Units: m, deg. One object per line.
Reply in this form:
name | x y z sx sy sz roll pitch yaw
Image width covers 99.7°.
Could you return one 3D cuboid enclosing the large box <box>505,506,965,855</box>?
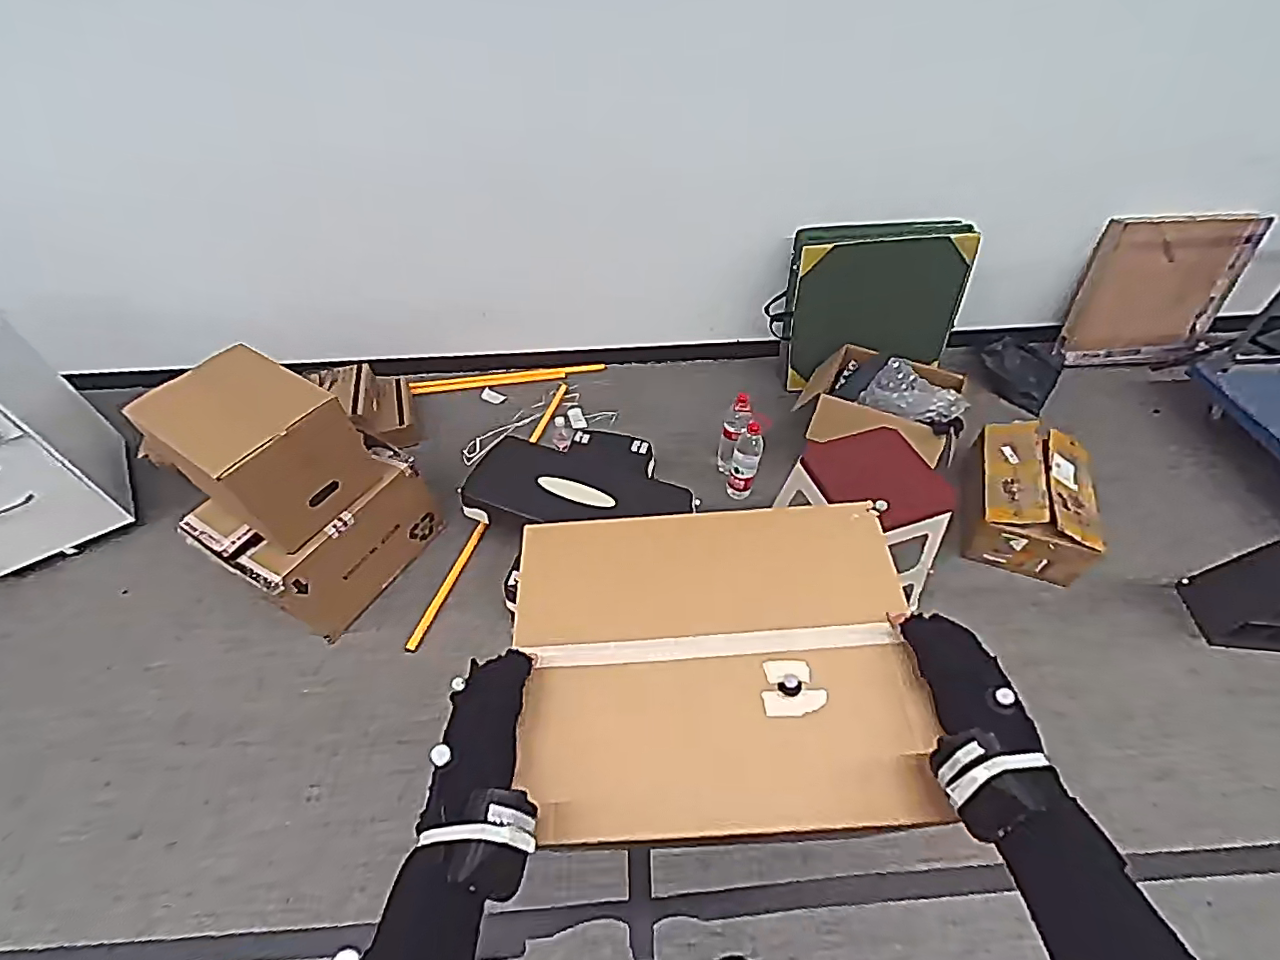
large box | 0.079 0.257 0.665 0.408 0.320 0.320 -4 54 1
